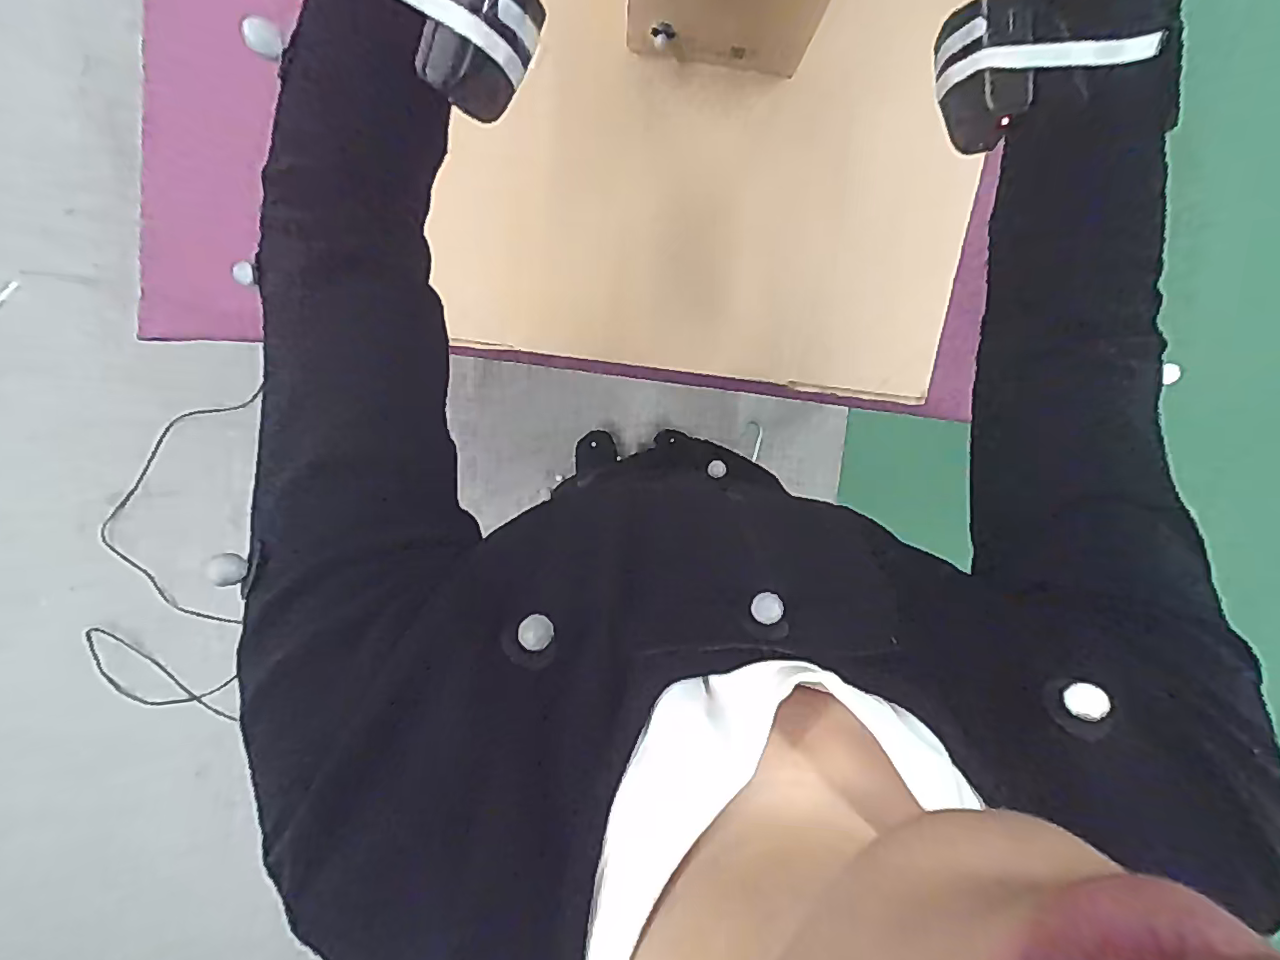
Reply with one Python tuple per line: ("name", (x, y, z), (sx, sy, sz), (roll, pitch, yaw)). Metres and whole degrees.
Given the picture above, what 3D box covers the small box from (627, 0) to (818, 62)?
("small box", (0.080, -0.484, 0.432), (0.168, 0.176, 0.179), (7, 94, -3))
